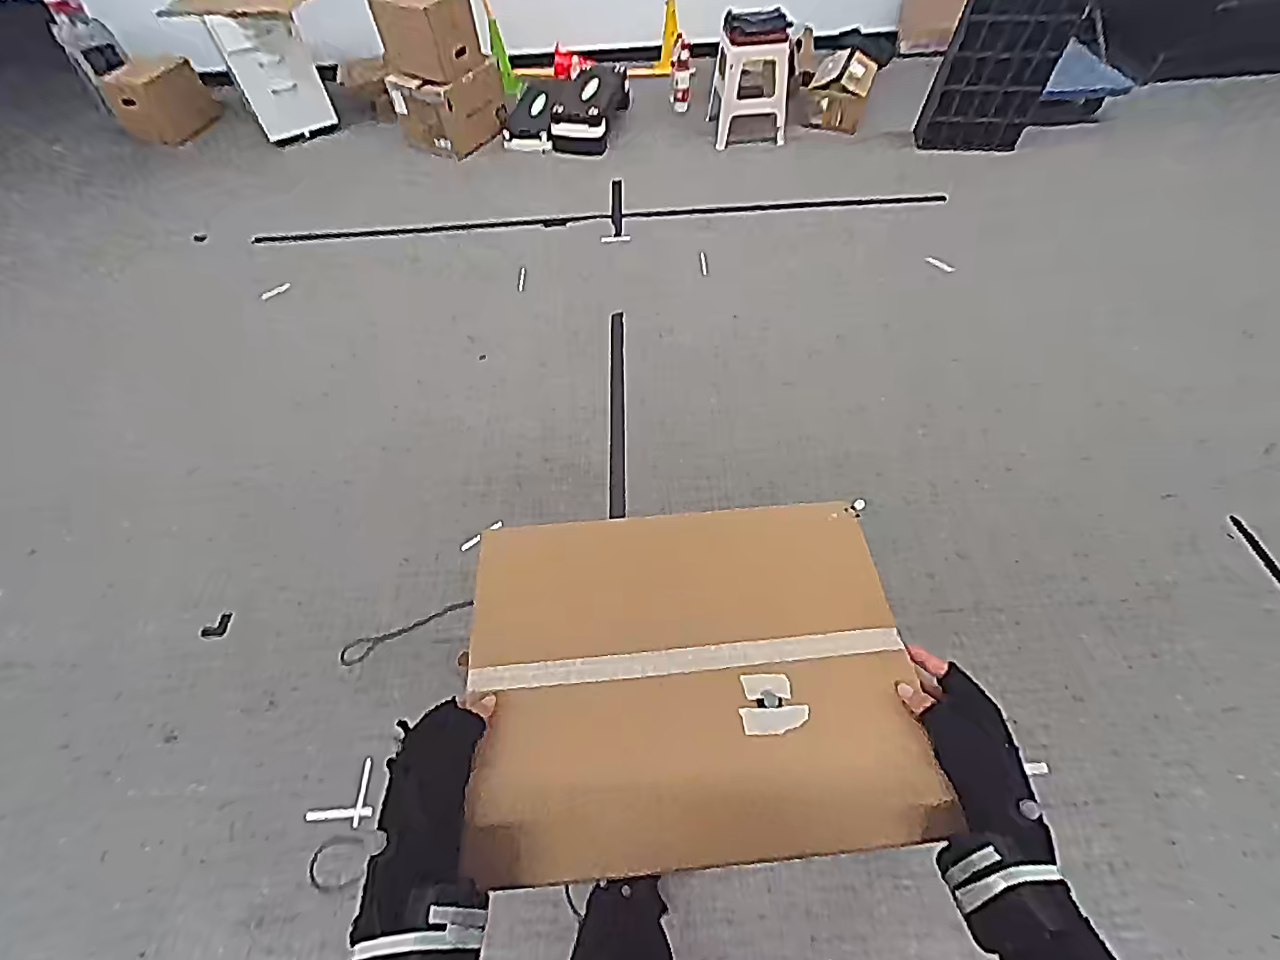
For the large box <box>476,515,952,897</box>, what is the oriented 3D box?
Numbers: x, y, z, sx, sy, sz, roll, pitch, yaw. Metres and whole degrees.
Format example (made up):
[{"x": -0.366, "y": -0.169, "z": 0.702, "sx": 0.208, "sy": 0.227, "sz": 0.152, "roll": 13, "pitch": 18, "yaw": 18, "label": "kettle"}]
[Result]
[{"x": 0.049, "y": 0.266, "z": 0.642, "sx": 0.408, "sy": 0.320, "sz": 0.320, "roll": -5, "pitch": 57, "yaw": -3, "label": "large box"}]
